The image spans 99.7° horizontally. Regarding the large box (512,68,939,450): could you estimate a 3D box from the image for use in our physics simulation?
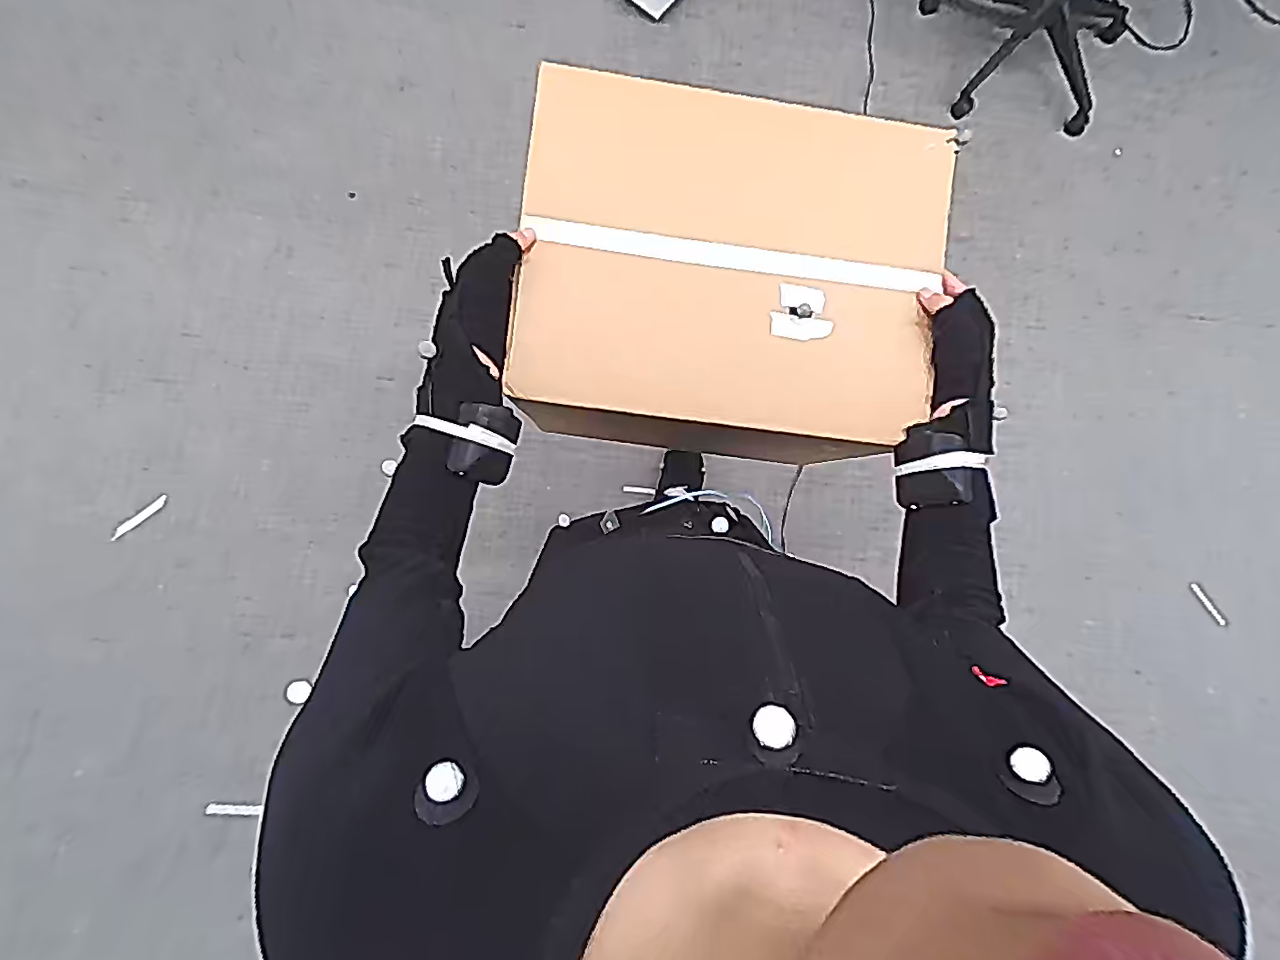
[{"bbox_3d":[0.076,-0.219,0.673,0.408,0.320,0.320,7,90,-5],"label":"large box"}]
